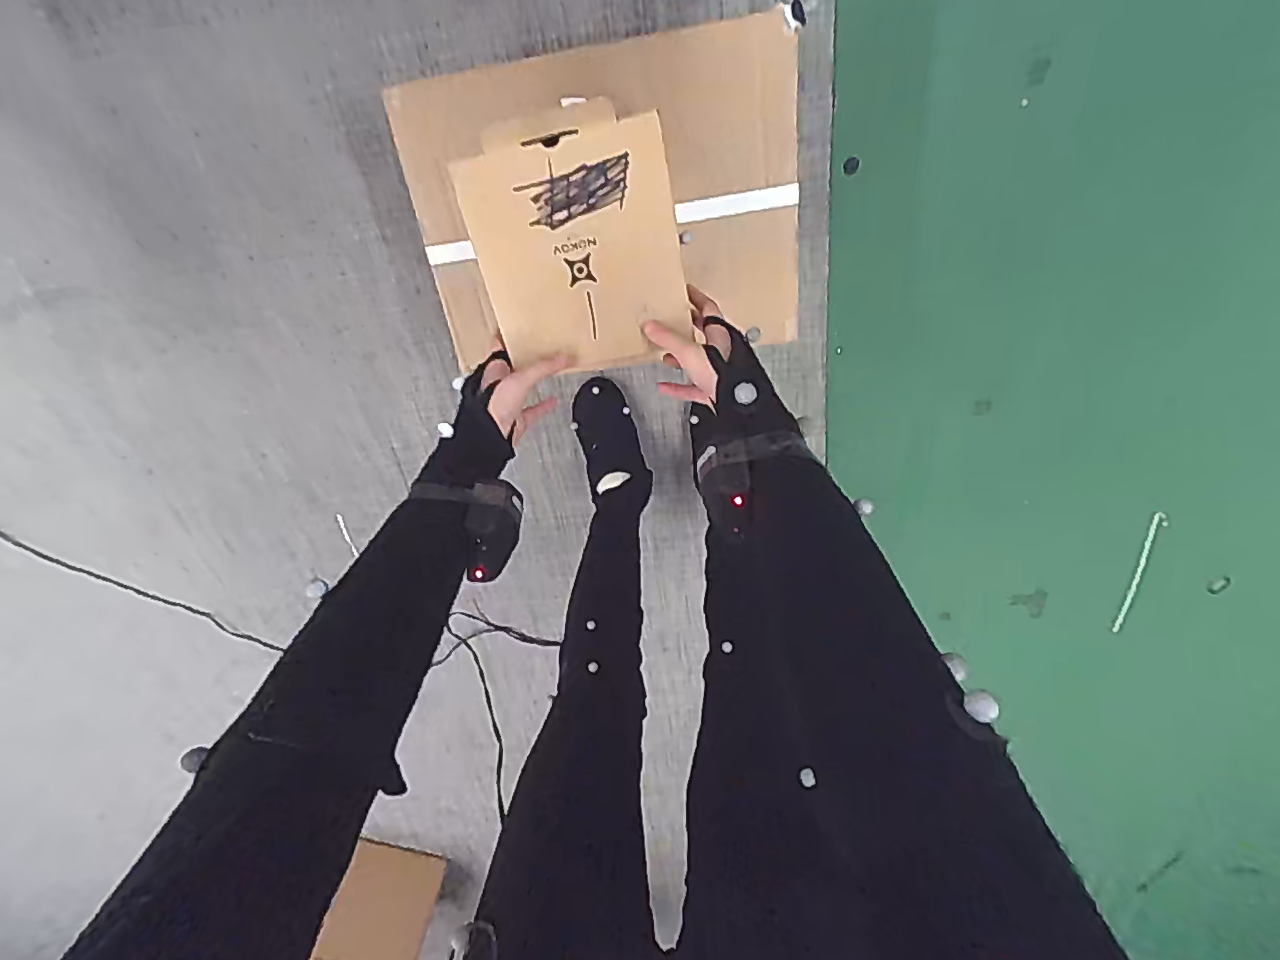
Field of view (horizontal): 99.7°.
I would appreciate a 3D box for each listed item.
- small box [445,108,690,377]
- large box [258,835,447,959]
[{"bbox_3d":[-0.052,-0.217,0.508,0.168,0.176,0.179,-10,118,7],"label":"small box"},{"bbox_3d":[-0.849,1.344,1.622,0.408,0.320,0.320,21,116,-7],"label":"large box"}]
